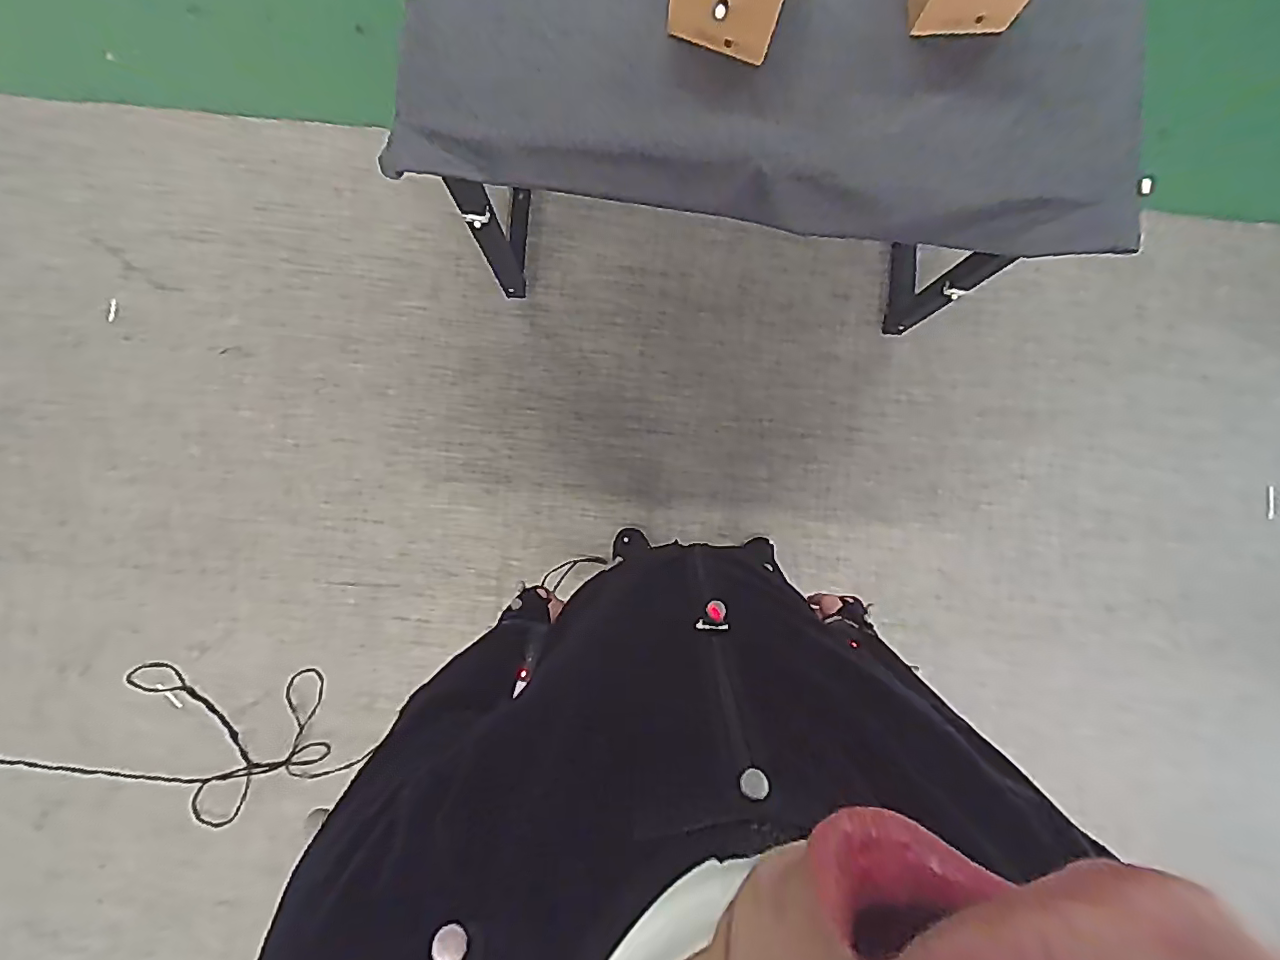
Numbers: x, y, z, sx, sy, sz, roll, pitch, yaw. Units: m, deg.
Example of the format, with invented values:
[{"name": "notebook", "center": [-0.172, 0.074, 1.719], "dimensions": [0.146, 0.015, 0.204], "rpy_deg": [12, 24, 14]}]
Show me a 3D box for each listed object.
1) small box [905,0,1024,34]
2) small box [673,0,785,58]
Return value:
[{"name": "small box", "center": [0.522, -0.827, 0.822], "dimensions": [0.168, 0.176, 0.179], "rpy_deg": [-3, 86, -4]}, {"name": "small box", "center": [0.153, -0.787, 0.800], "dimensions": [0.168, 0.176, 0.179], "rpy_deg": [19, 86, -2]}]
